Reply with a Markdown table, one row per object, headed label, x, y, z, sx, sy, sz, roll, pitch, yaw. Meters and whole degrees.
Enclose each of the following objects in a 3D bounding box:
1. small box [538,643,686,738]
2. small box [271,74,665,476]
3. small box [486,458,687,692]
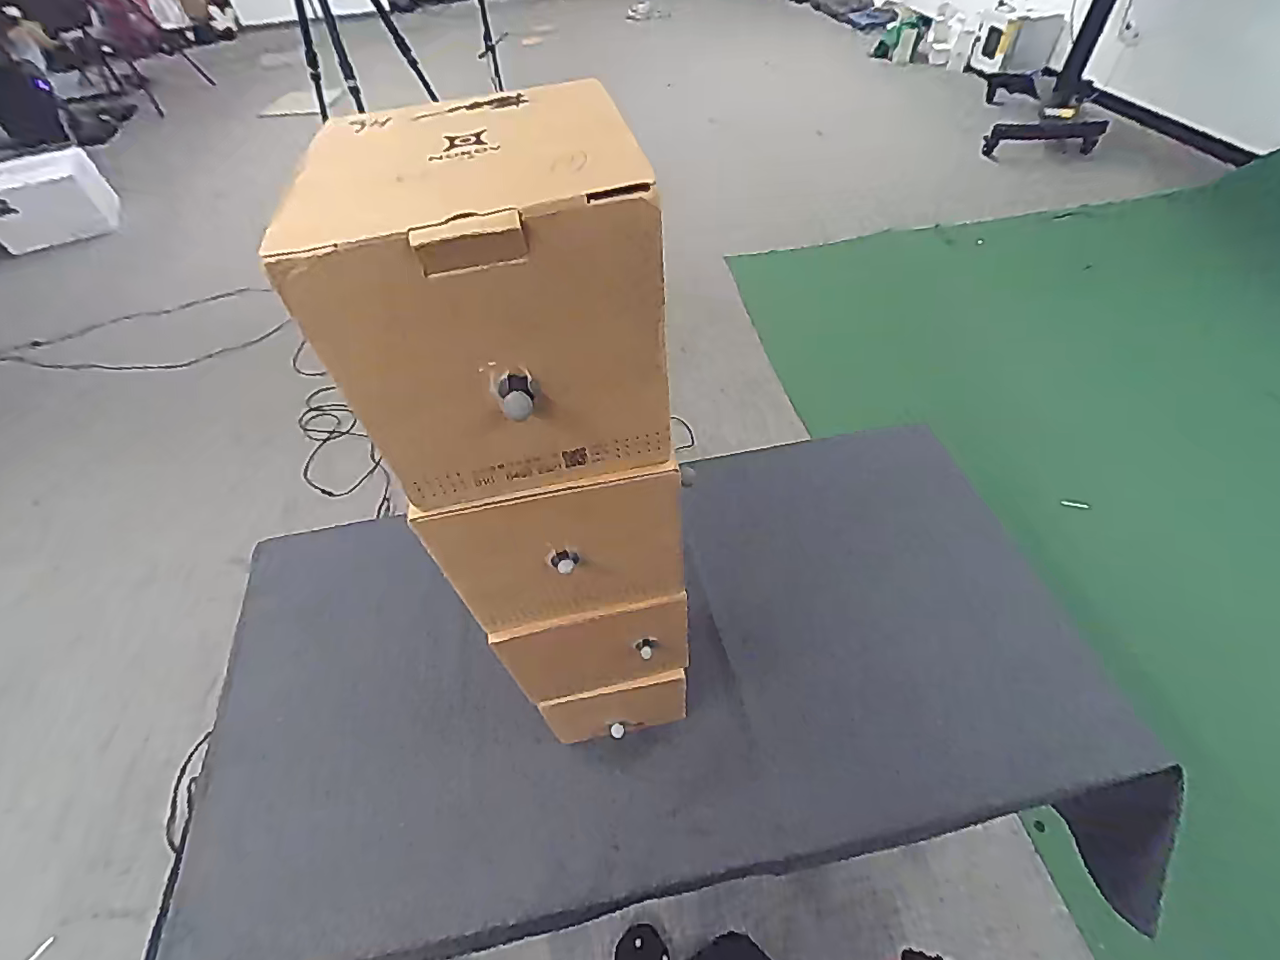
| label | x | y | z | sx | sy | sz | roll | pitch | yaw |
| --- | --- | --- | --- | --- | --- | --- | --- | --- | --- |
| small box | -0.039 | 0.209 | 0.701 | 0.168 | 0.176 | 0.179 | -10 | 51 | -3 |
| small box | -0.082 | -0.119 | 0.339 | 0.168 | 0.176 | 0.179 | -11 | 50 | -4 |
| small box | -0.055 | 0.104 | 0.577 | 0.179 | 0.176 | 0.168 | -12 | 50 | -5 |
